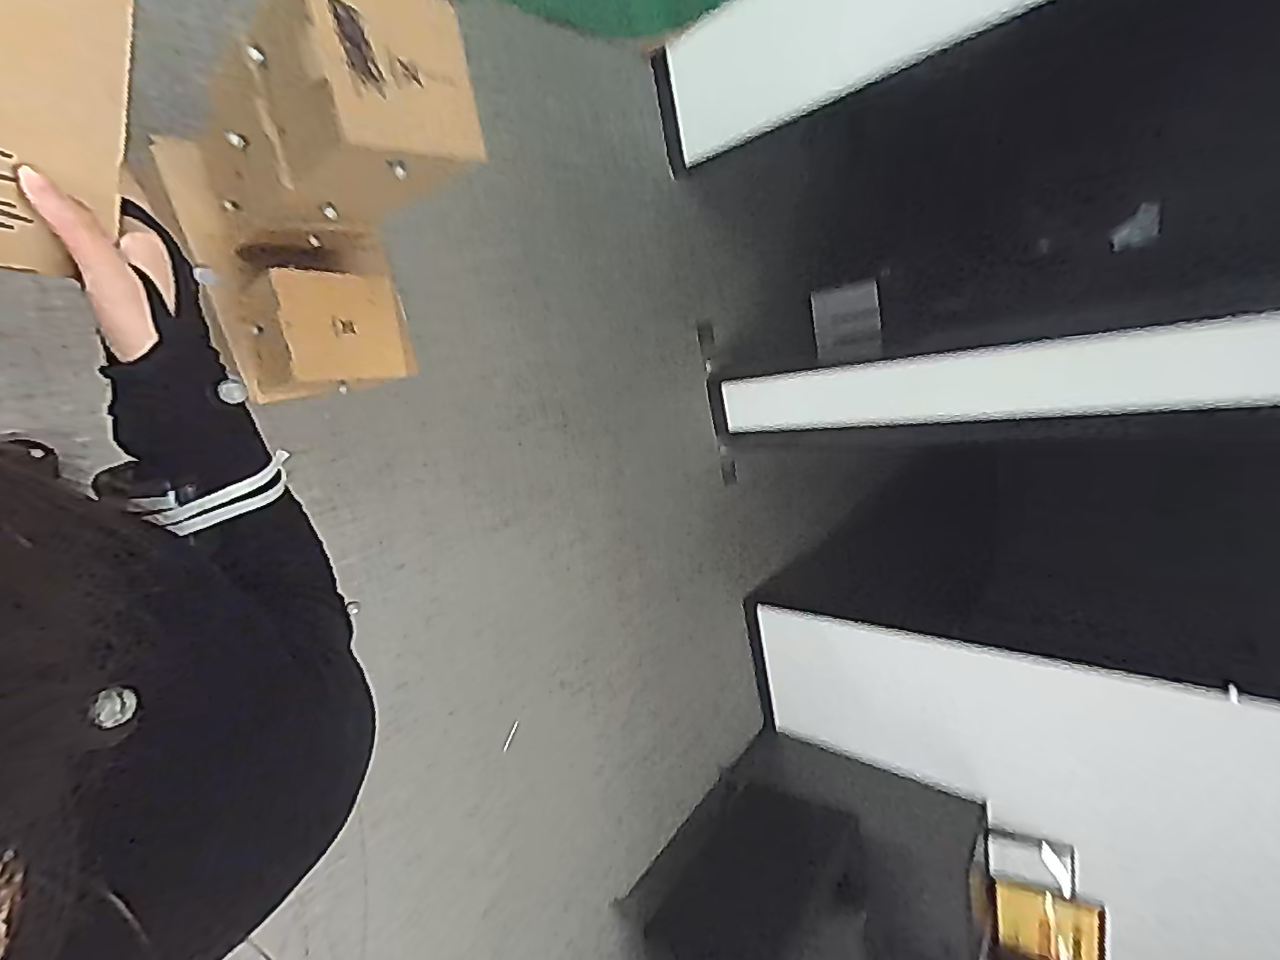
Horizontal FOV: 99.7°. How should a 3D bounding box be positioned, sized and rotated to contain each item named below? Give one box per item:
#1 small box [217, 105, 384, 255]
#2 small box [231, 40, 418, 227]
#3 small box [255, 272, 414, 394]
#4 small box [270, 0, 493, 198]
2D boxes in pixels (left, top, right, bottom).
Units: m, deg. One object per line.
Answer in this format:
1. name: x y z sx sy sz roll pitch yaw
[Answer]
1. small box: -0.551 -0.468 0.875 0.179 0.176 0.168 -23 110 -44
2. small box: -0.439 -0.461 0.755 0.179 0.176 0.168 -25 111 -43
3. small box: -0.516 -0.241 0.916 0.179 0.176 0.168 -16 101 -46
4. small box: -0.313 -0.453 0.650 0.179 0.176 0.168 -26 112 -44
